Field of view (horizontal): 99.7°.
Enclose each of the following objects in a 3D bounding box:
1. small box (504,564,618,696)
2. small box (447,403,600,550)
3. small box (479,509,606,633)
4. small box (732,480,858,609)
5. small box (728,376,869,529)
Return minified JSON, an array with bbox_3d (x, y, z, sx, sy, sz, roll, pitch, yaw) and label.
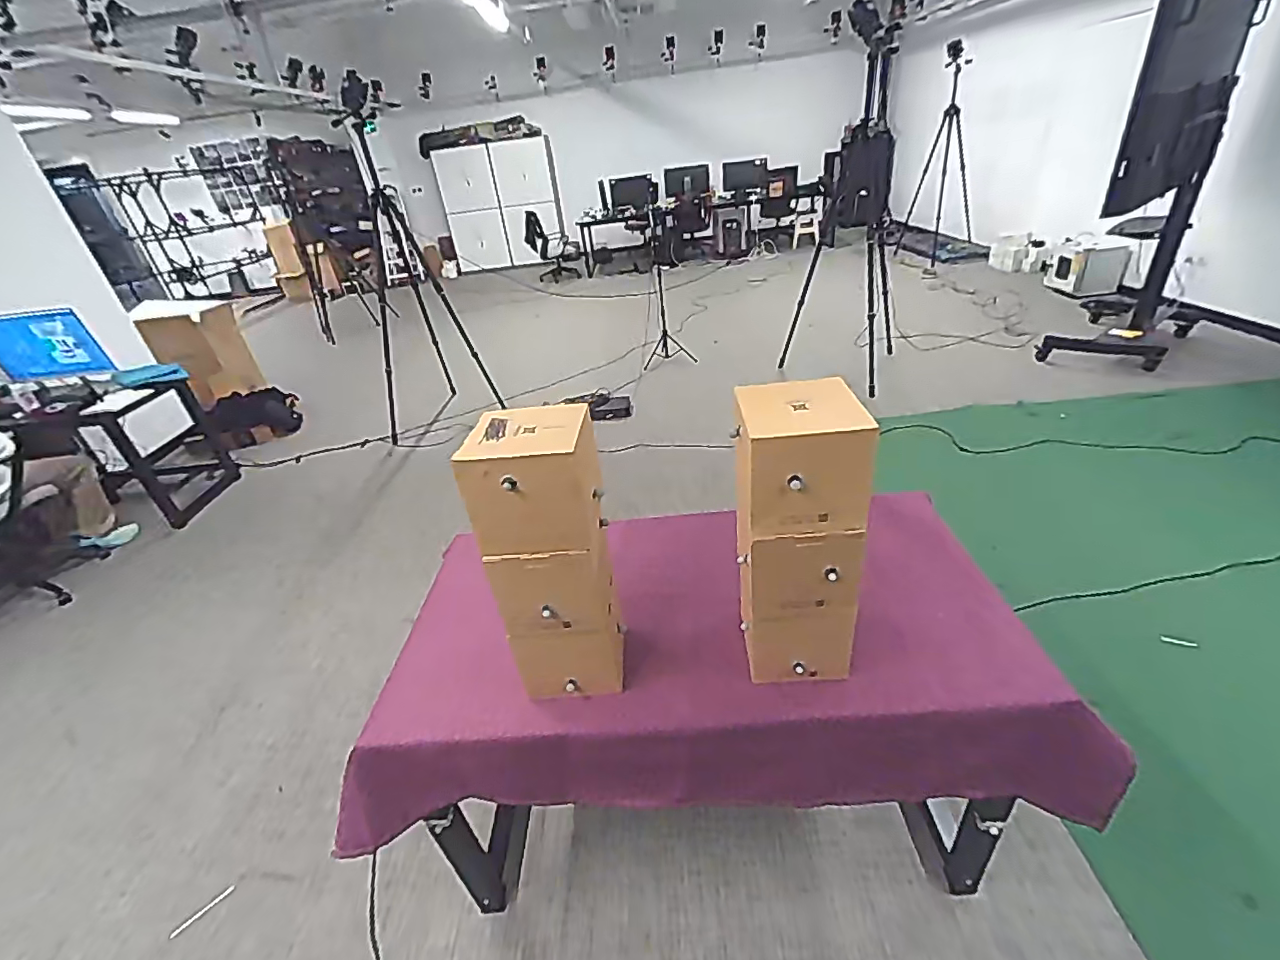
[{"bbox_3d":[-0.134,0.277,1.004,0.179,0.176,0.168,-6,31,2],"label":"small box"},{"bbox_3d":[-0.166,-0.004,0.836,0.179,0.176,0.168,-4,32,5],"label":"small box"},{"bbox_3d":[-0.153,0.136,0.922,0.168,0.176,0.179,-6,32,4],"label":"small box"},{"bbox_3d":[0.247,0.099,0.894,0.168,0.176,0.179,-5,32,4],"label":"small box"},{"bbox_3d":[0.227,-0.038,0.809,0.168,0.176,0.179,-5,32,4],"label":"small box"}]
